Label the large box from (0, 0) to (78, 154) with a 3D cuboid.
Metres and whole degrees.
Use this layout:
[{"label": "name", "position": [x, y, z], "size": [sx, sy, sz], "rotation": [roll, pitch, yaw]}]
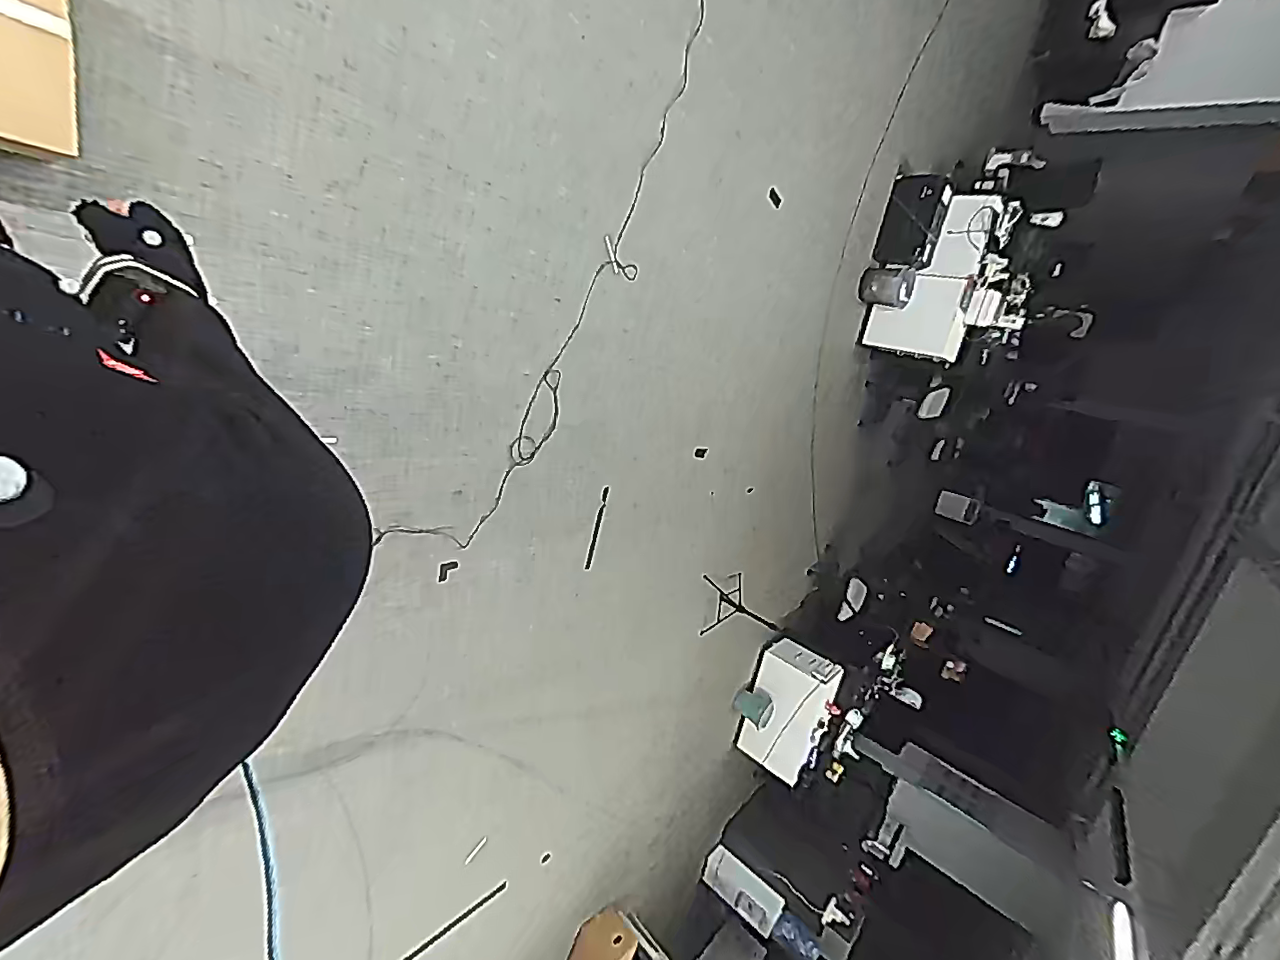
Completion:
[{"label": "large box", "position": [-1.016, -0.646, 0.667], "size": [0.408, 0.320, 0.320], "rotation": [-7, 115, -52]}]
